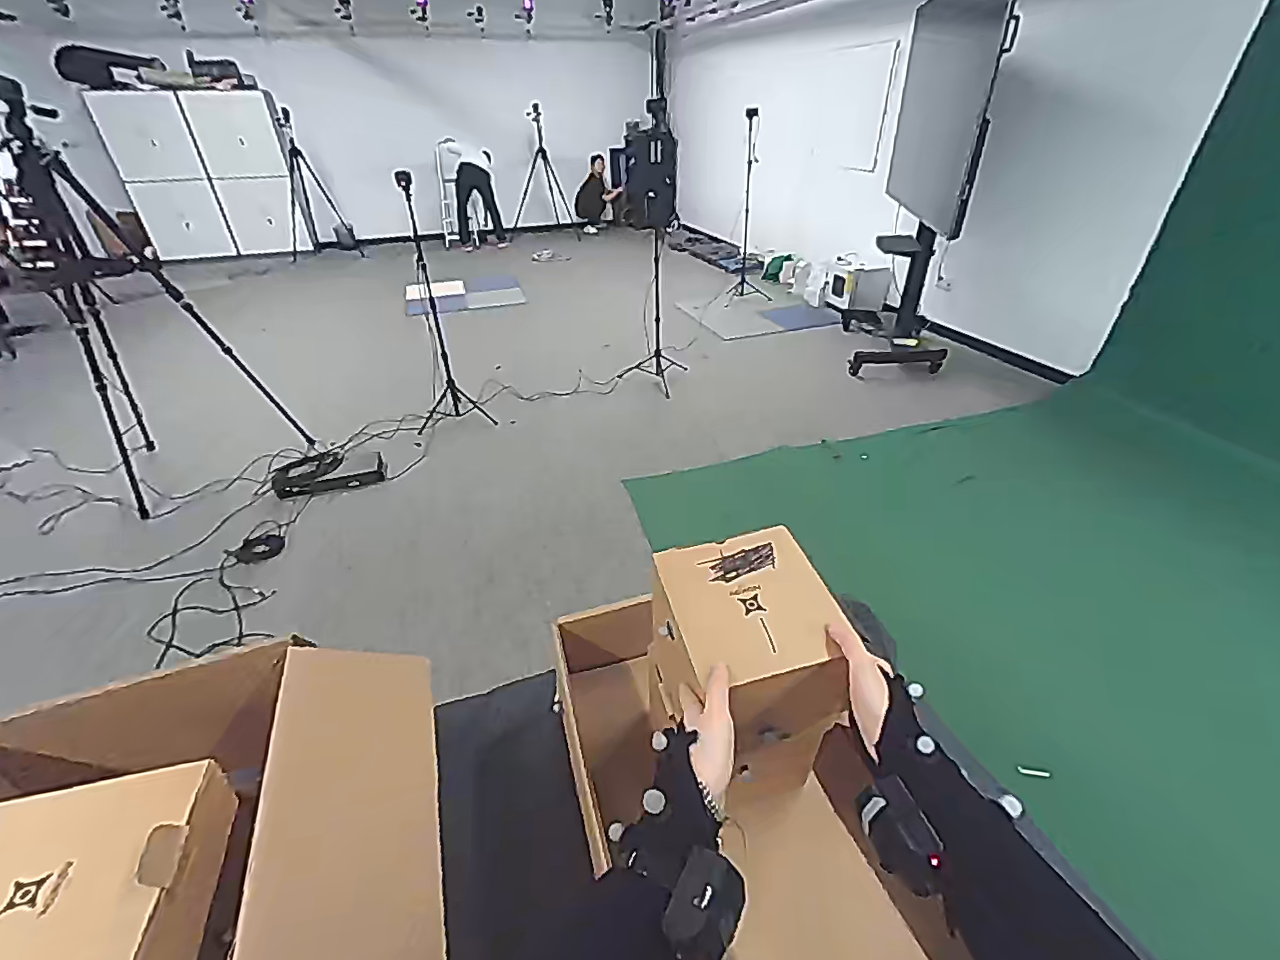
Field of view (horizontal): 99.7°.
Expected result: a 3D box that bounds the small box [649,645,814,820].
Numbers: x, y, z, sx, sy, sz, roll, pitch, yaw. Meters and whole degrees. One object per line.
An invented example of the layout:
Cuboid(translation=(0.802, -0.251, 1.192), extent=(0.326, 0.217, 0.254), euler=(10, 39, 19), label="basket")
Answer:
Cuboid(translation=(0.120, 0.318, 0.724), extent=(0.179, 0.176, 0.168), euler=(-11, 38, -11), label="small box")

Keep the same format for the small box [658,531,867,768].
Cuboid(translation=(0.118, 0.188, 0.611), extent=(0.168, 0.176, 0.179), euler=(-11, 42, -9), label="small box")
